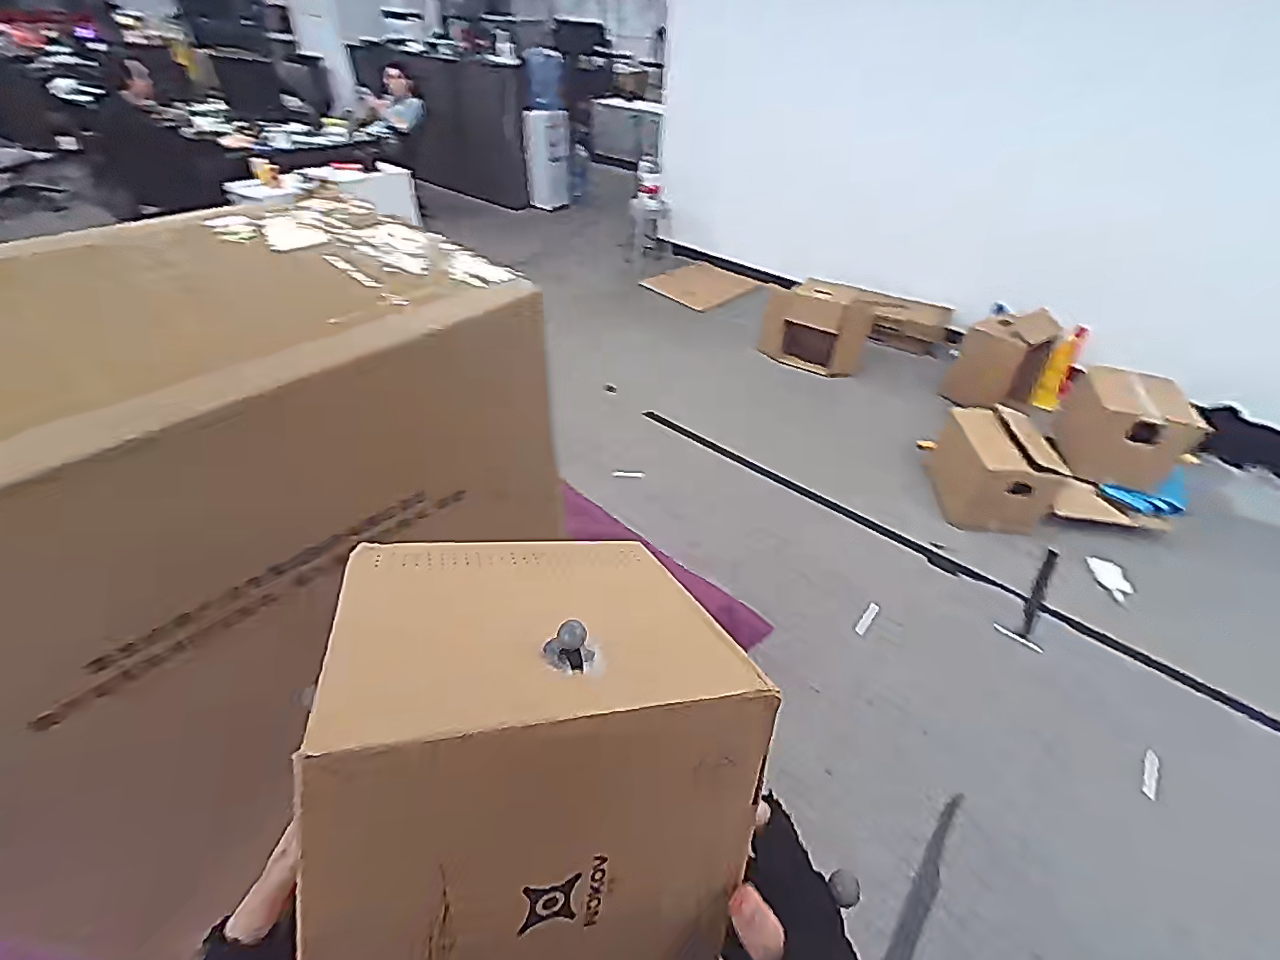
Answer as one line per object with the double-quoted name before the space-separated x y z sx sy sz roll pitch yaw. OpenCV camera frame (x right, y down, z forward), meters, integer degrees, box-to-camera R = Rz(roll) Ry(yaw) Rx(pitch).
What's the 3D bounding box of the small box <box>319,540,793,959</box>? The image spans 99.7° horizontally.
"small box" -0.055 0.135 0.282 0.179 0.168 0.176 3 13 -22
